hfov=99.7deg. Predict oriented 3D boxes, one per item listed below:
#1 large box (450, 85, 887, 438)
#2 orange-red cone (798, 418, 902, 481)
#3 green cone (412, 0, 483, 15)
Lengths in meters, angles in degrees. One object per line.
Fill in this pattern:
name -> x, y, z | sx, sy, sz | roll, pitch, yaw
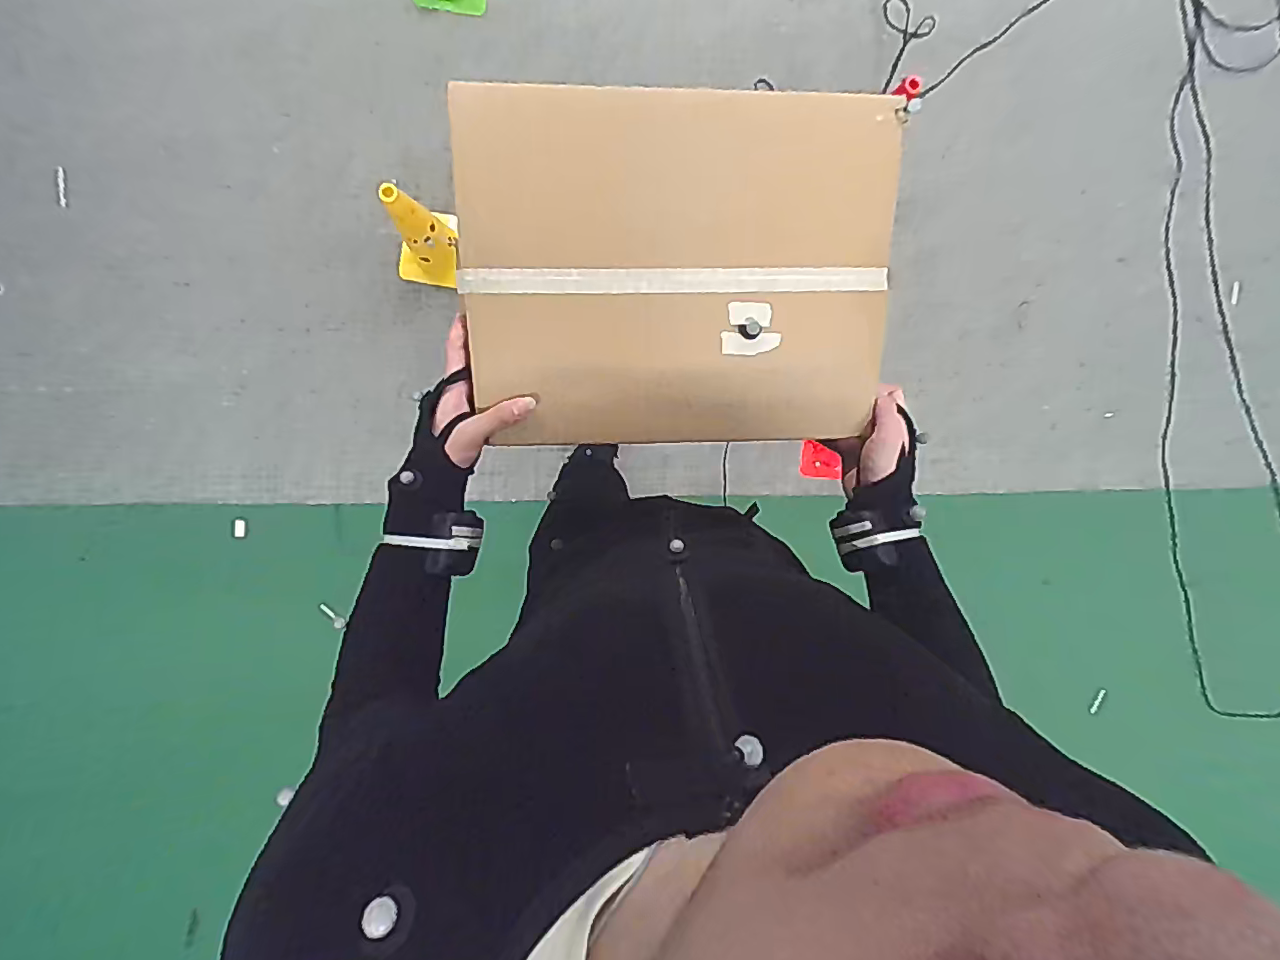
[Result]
large box -> 0.020, -0.237, 0.663 | 0.408, 0.320, 0.320 | -2, 106, -5
orange-red cone -> 0.597, -0.089, 1.466 | 0.199, 0.360, 0.198 | 7, 94, -5
green cone -> -0.523, -1.390, 1.325 | 0.200, 0.368, 0.202 | 5, 94, -3
